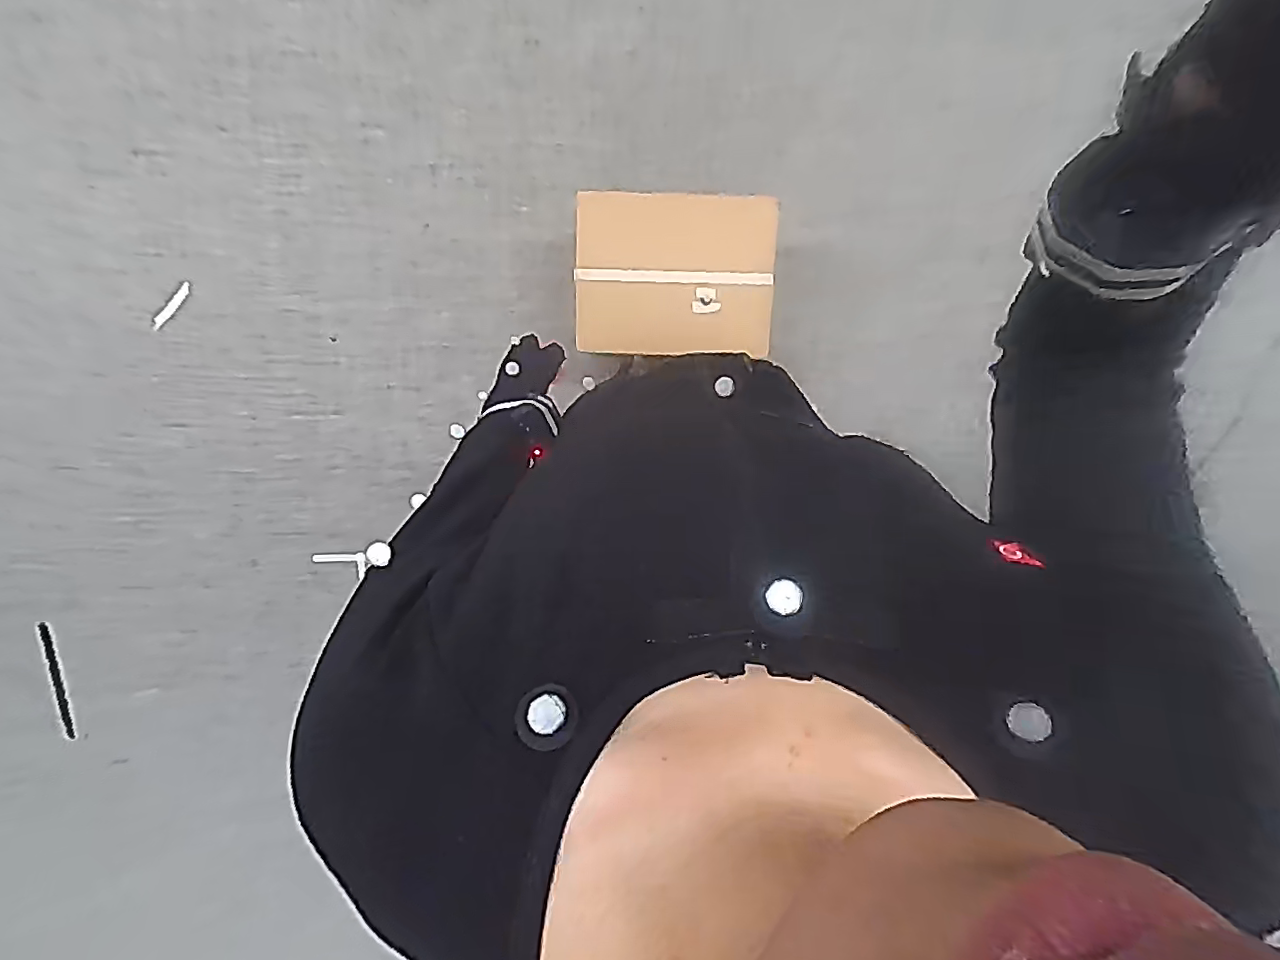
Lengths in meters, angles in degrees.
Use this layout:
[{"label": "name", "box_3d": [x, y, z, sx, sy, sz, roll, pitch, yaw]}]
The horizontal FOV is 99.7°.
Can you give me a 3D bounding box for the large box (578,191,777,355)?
[{"label": "large box", "box_3d": [0.072, -0.451, 1.249, 0.408, 0.320, 0.320, 1, 103, 0]}]
